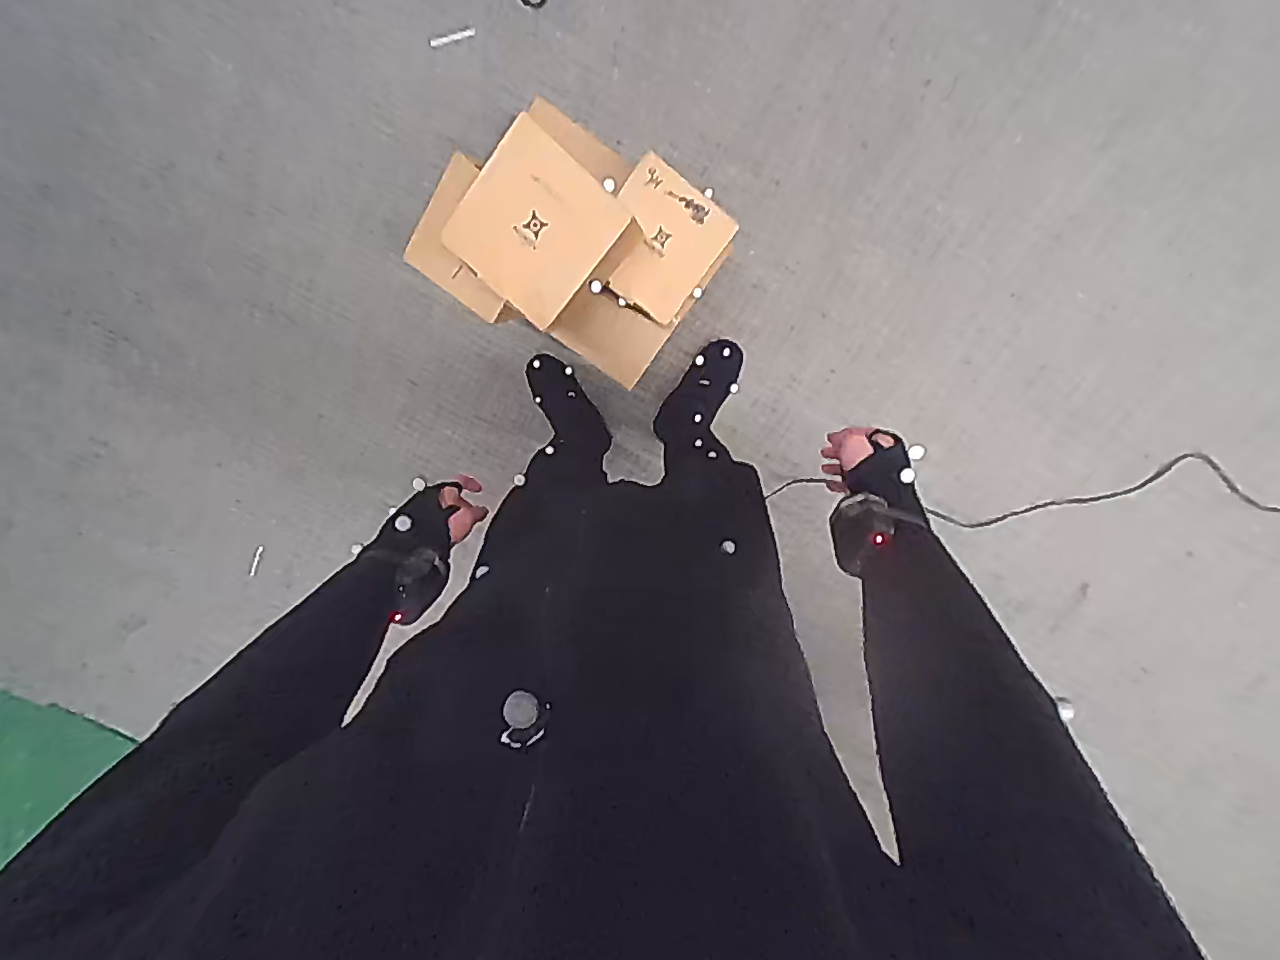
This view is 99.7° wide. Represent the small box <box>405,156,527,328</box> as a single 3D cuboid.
[{"bbox_3d":[-0.231,-0.369,0.865,0.168,0.176,0.179,37,108,-7],"label":"small box"}]

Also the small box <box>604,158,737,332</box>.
[{"bbox_3d":[0.032,-0.354,0.851,0.168,0.176,0.179,36,105,-6],"label":"small box"}]

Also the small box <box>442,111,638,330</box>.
[{"bbox_3d":[-0.114,-0.315,0.702,0.168,0.176,0.179,40,104,-9],"label":"small box"}]
